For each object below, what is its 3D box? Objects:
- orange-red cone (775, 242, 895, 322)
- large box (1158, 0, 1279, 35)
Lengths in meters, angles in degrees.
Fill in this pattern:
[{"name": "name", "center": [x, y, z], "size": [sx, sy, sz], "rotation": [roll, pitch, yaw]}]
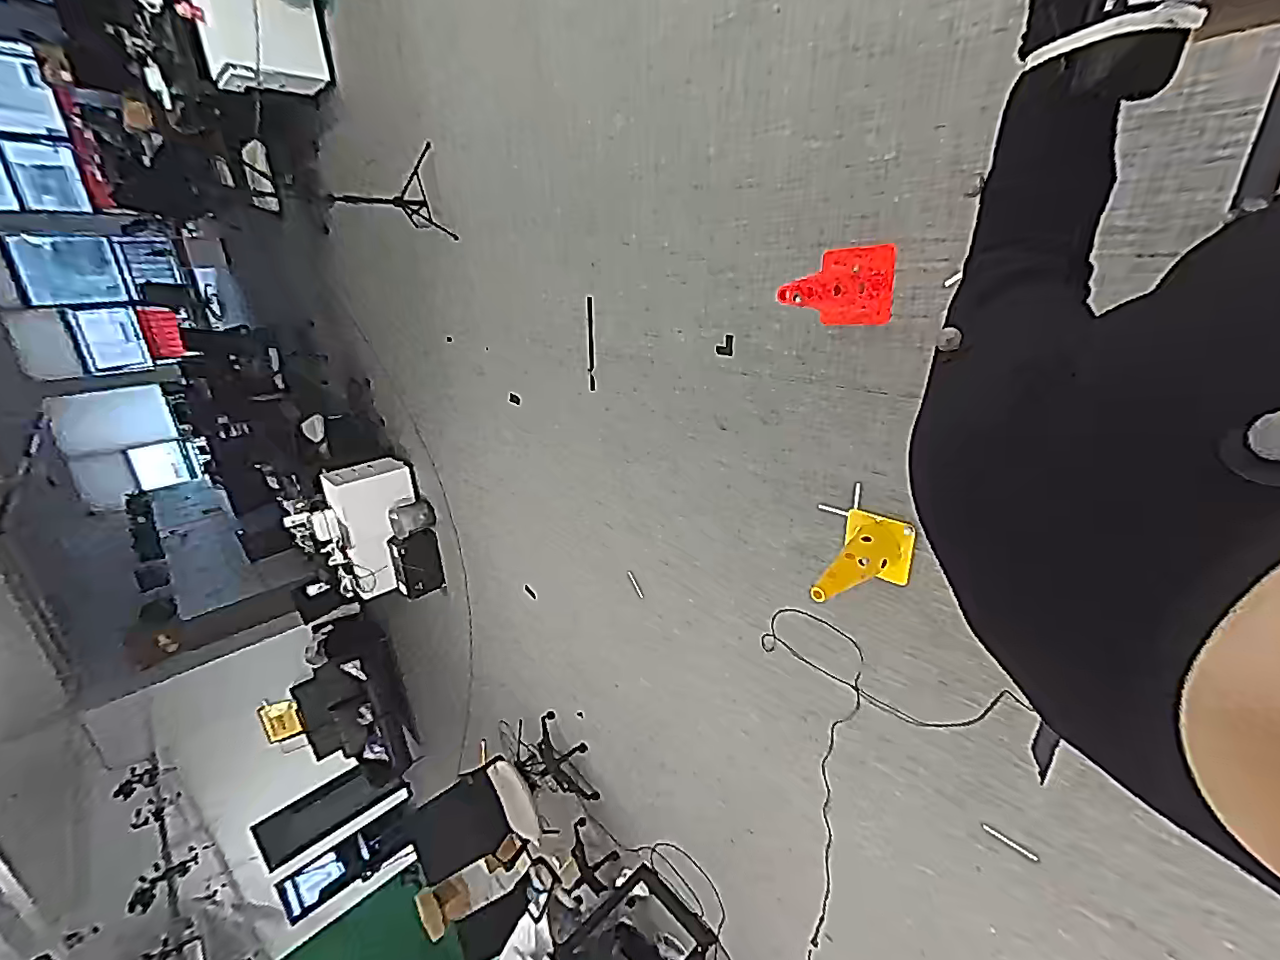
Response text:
[{"name": "orange-red cone", "center": [0.454, -0.477, 1.346], "size": [0.198, 0.360, 0.199], "rotation": [19, 121, 44]}, {"name": "large box", "center": [0.539, -0.463, 0.236], "size": [0.408, 0.320, 0.320], "rotation": [17, 127, 42]}]
